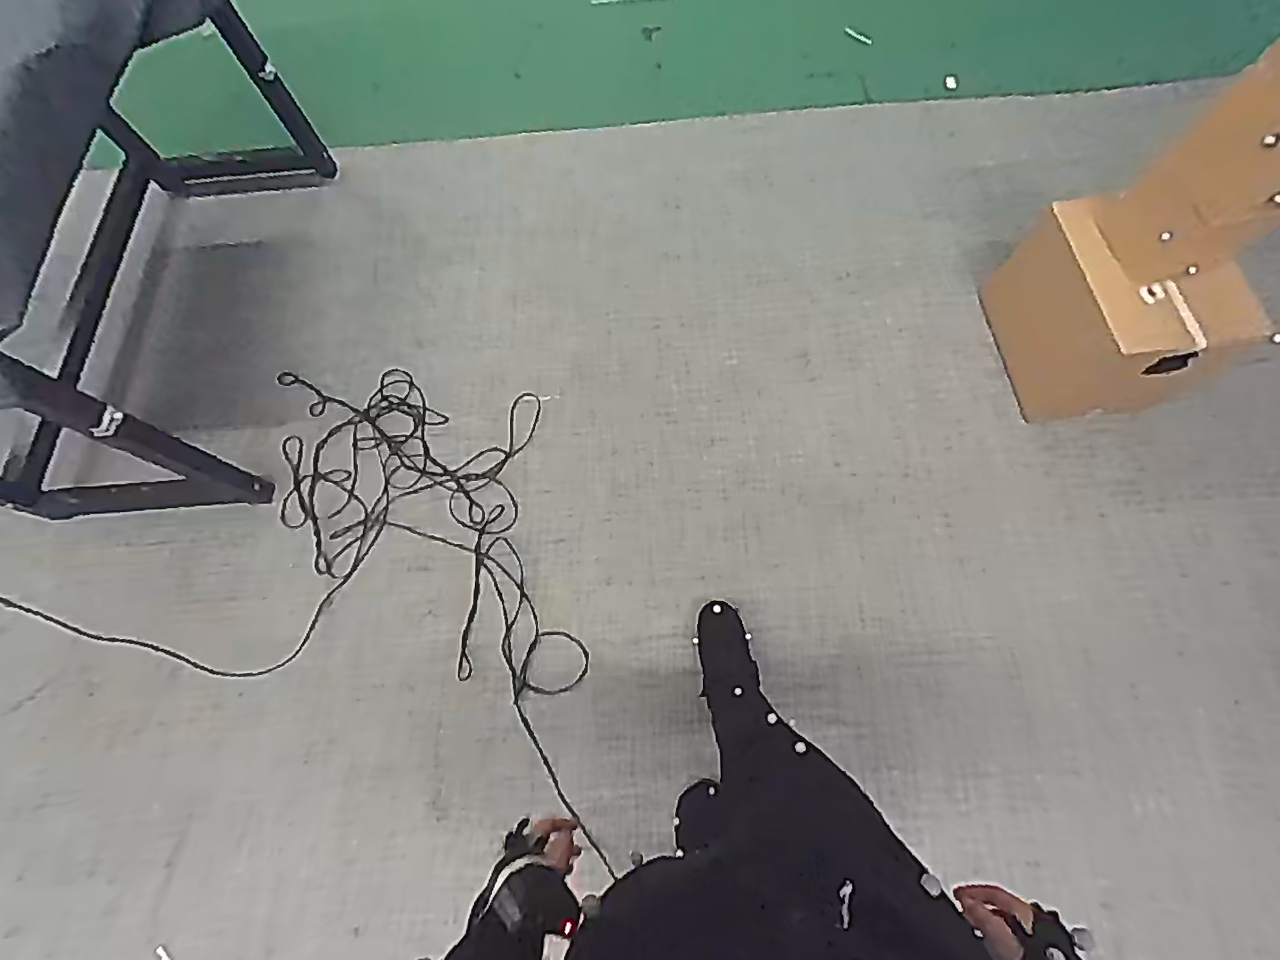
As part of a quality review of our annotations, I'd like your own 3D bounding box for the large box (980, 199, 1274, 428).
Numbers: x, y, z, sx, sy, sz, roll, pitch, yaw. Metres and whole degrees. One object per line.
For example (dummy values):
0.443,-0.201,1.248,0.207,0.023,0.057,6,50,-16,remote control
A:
1.099,-0.380,1.285,0.320,0.320,0.408,-7,70,2,large box
